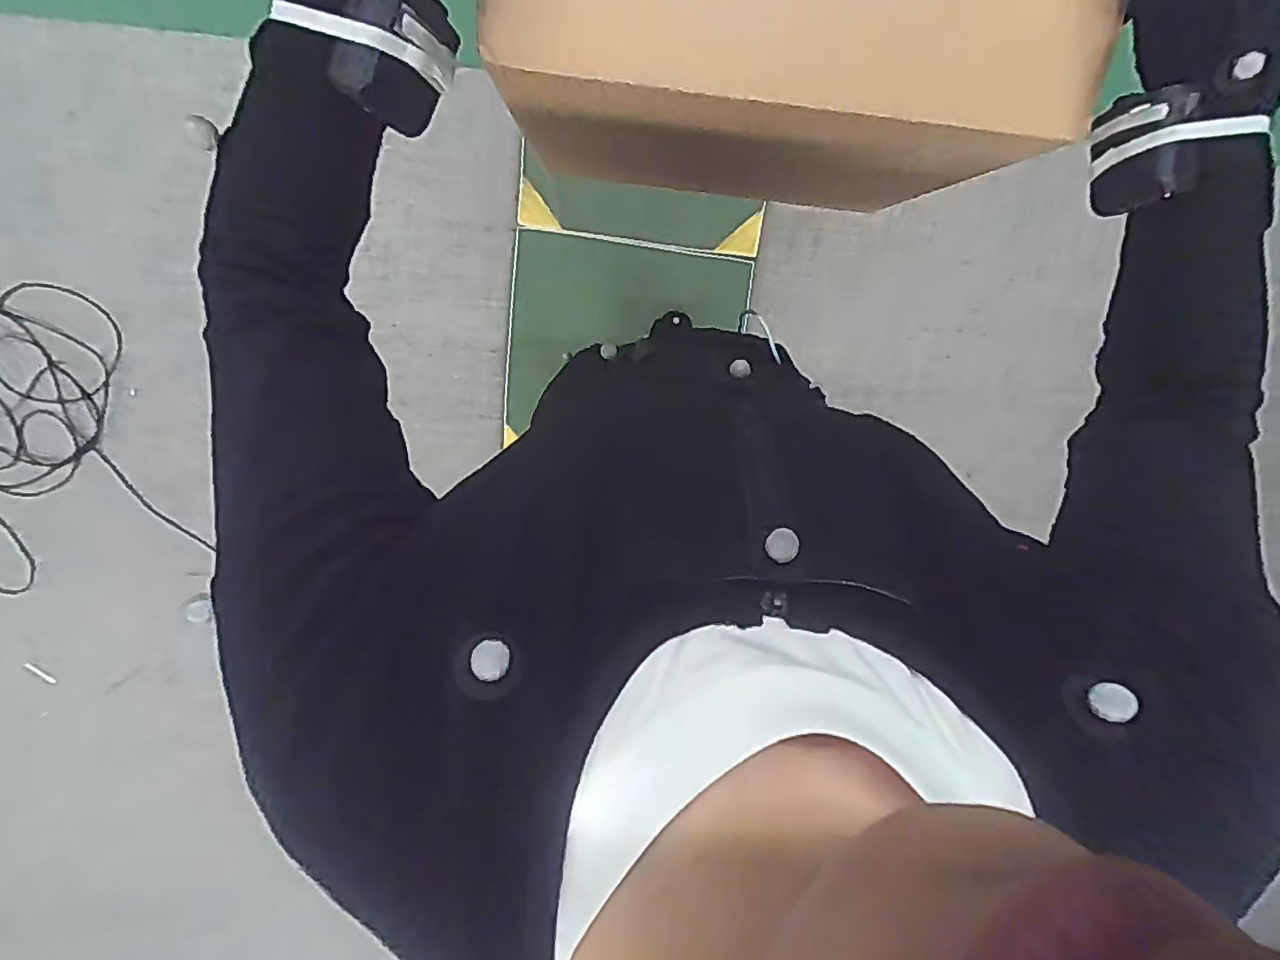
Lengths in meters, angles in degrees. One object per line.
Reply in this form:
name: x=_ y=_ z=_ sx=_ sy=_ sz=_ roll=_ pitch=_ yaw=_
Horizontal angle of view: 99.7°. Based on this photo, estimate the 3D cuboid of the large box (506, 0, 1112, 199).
large box: x=0.110 y=-0.450 z=0.459 sx=0.408 sy=0.320 sz=0.320 roll=4 pitch=109 yaw=-5
